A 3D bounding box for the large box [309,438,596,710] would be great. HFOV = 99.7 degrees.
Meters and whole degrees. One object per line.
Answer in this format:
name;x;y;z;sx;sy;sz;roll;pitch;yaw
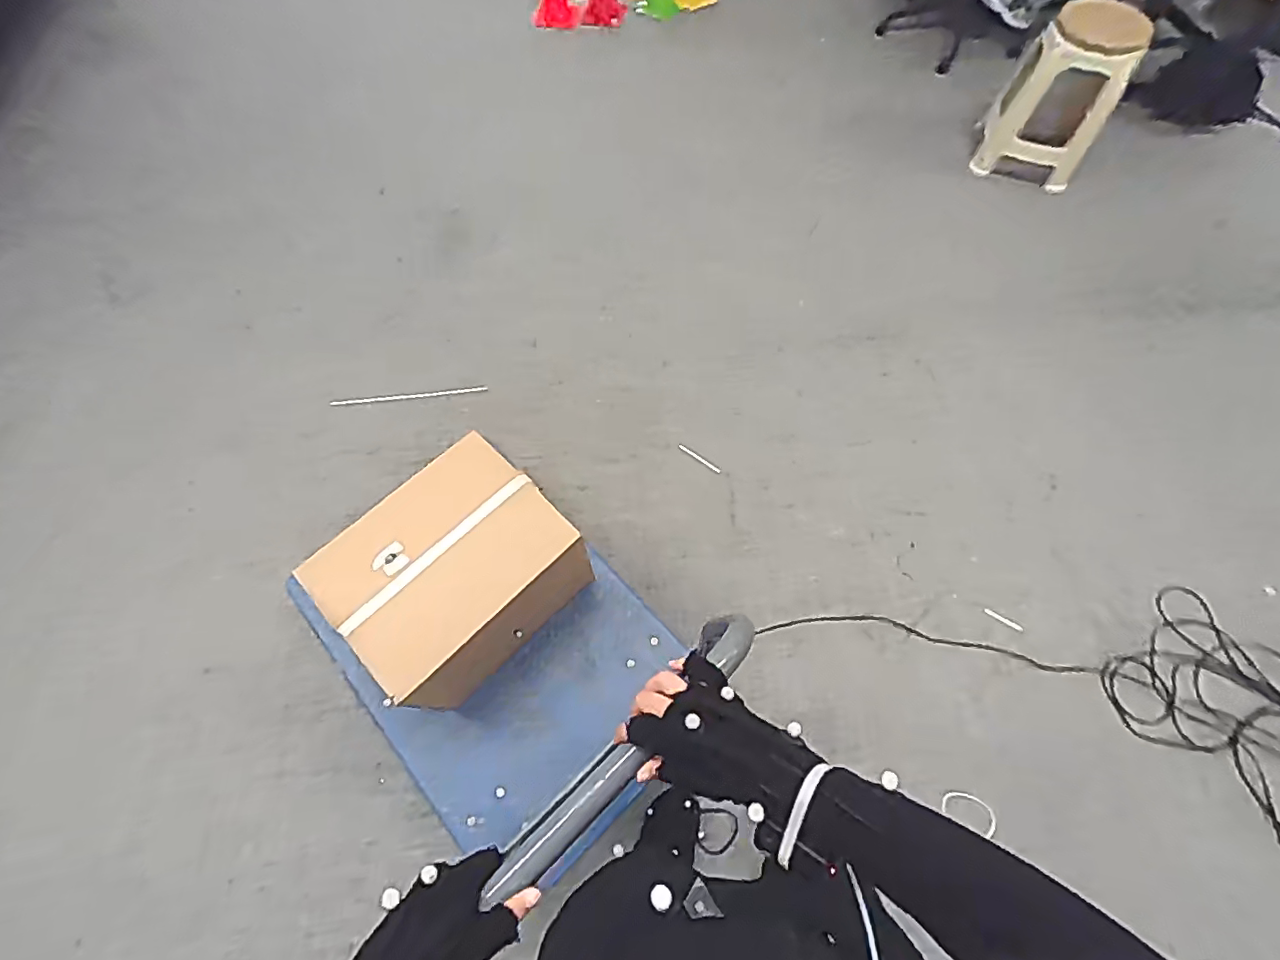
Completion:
large box;-0.340;0.200;1.101;0.320;0.320;0.408;41;72;17
